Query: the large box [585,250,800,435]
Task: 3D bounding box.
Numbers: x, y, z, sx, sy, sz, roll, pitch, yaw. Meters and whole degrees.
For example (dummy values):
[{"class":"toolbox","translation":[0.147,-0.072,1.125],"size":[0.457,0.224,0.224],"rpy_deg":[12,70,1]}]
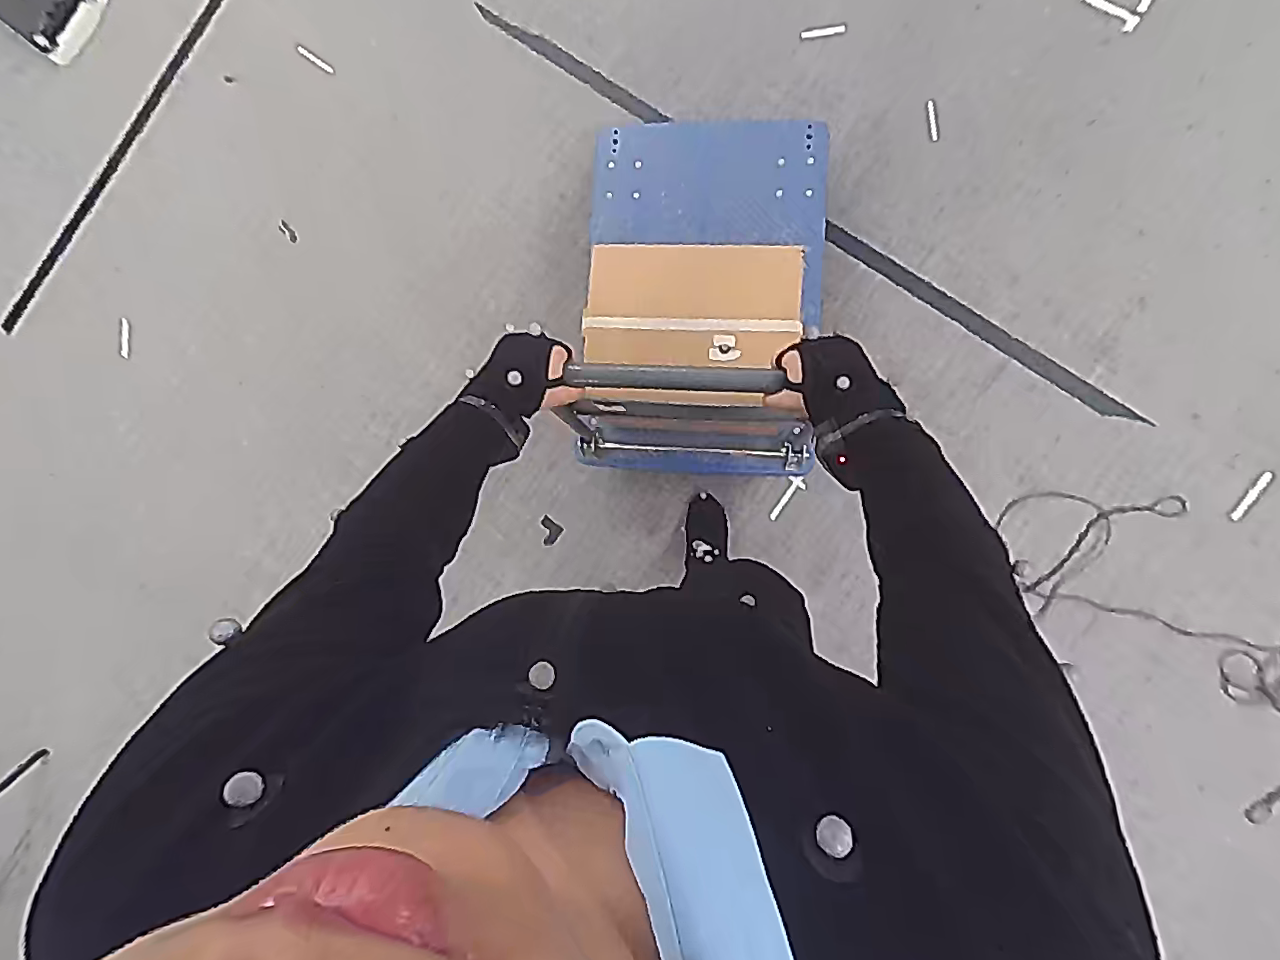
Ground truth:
[{"class":"large box","translation":[0.111,-0.277,1.173],"size":[0.408,0.320,0.320],"rpy_deg":[3,88,7]}]
